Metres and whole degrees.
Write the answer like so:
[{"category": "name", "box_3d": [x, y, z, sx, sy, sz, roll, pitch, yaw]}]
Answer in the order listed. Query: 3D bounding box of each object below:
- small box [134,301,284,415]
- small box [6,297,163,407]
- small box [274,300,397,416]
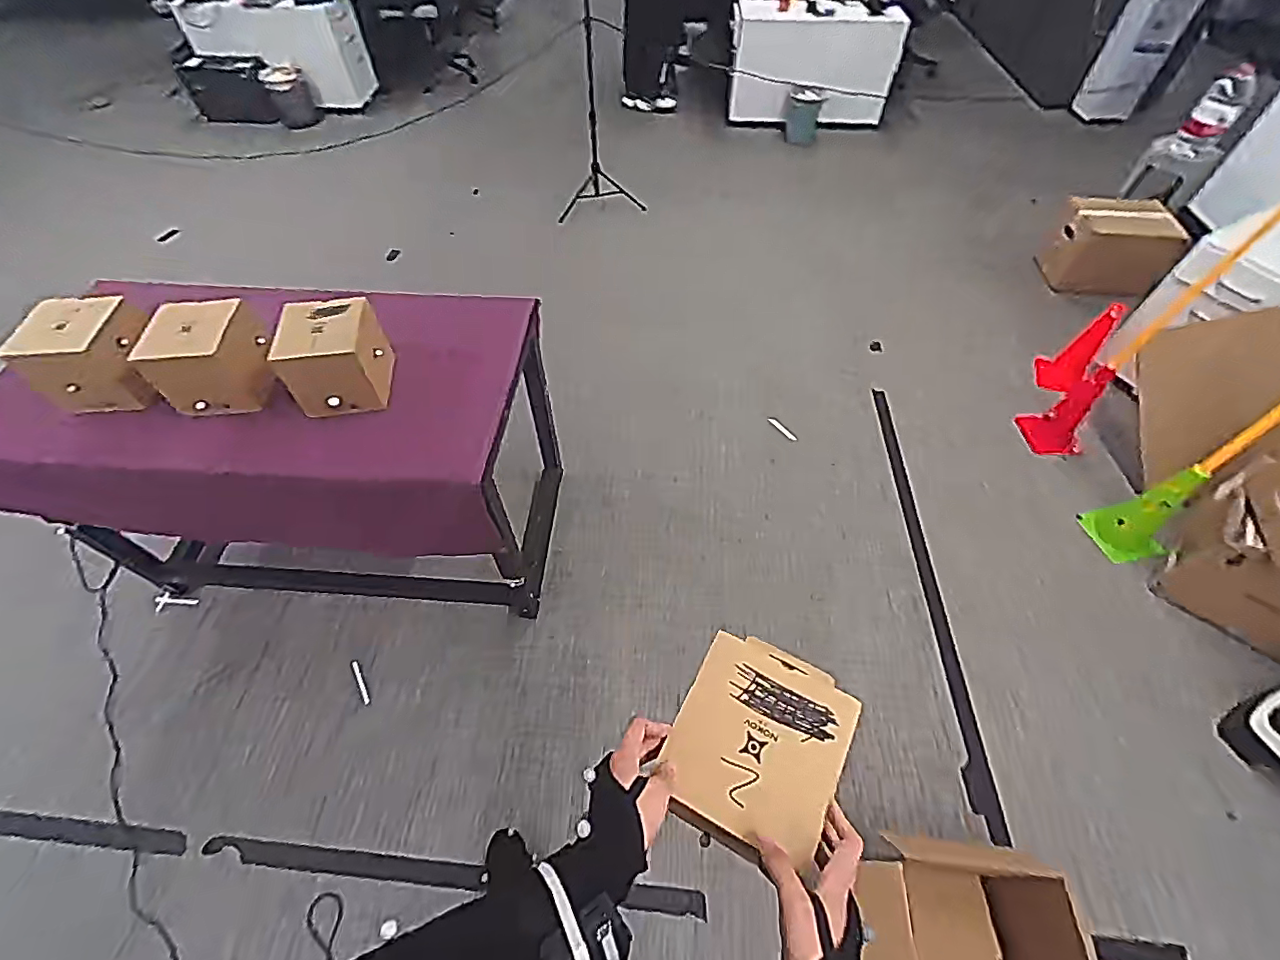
[{"category": "small box", "box_3d": [-0.907, -0.261, 1.164, 0.168, 0.176, 0.179, -4, 54, -3]}, {"category": "small box", "box_3d": [-1.160, -0.271, 1.168, 0.168, 0.176, 0.179, -3, 54, -3]}, {"category": "small box", "box_3d": [-0.640, -0.261, 1.163, 0.168, 0.176, 0.179, -7, 55, -5]}]
